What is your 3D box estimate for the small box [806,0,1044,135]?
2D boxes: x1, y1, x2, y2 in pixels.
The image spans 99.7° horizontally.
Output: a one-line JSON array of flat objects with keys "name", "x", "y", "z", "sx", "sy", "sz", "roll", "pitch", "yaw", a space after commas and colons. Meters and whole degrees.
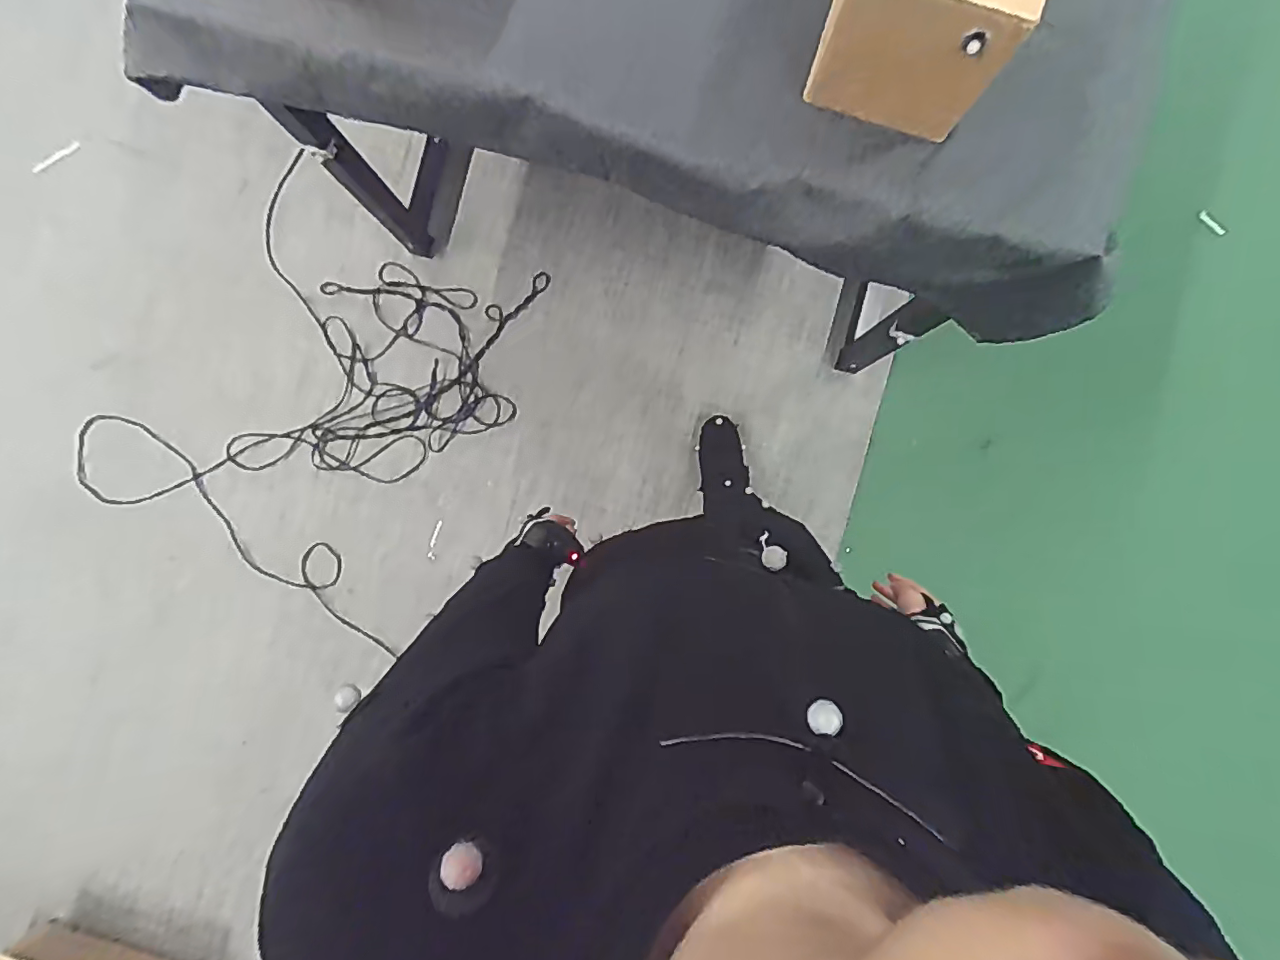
[{"name": "small box", "x": 0.294, "y": -0.503, "z": 0.561, "sx": 0.179, "sy": 0.176, "sz": 0.168, "roll": 18, "pitch": 89, "yaw": 1}]
